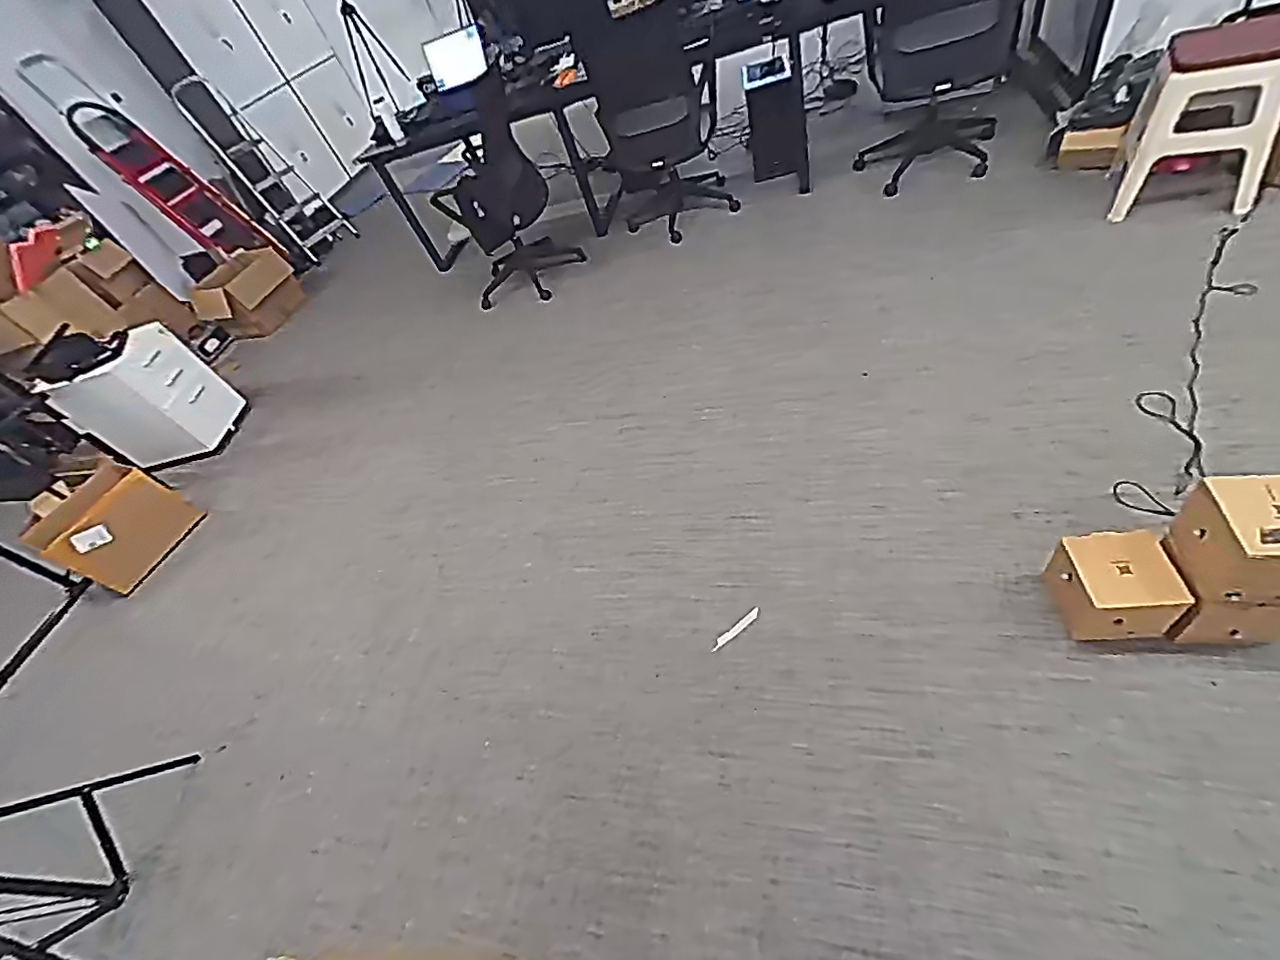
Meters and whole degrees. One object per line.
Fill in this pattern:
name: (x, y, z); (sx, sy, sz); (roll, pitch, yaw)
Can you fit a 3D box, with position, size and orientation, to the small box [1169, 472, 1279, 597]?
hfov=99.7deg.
small box: (1.139, 0.106, 0.995); (0.168, 0.176, 0.179); (-3, 49, 19)
